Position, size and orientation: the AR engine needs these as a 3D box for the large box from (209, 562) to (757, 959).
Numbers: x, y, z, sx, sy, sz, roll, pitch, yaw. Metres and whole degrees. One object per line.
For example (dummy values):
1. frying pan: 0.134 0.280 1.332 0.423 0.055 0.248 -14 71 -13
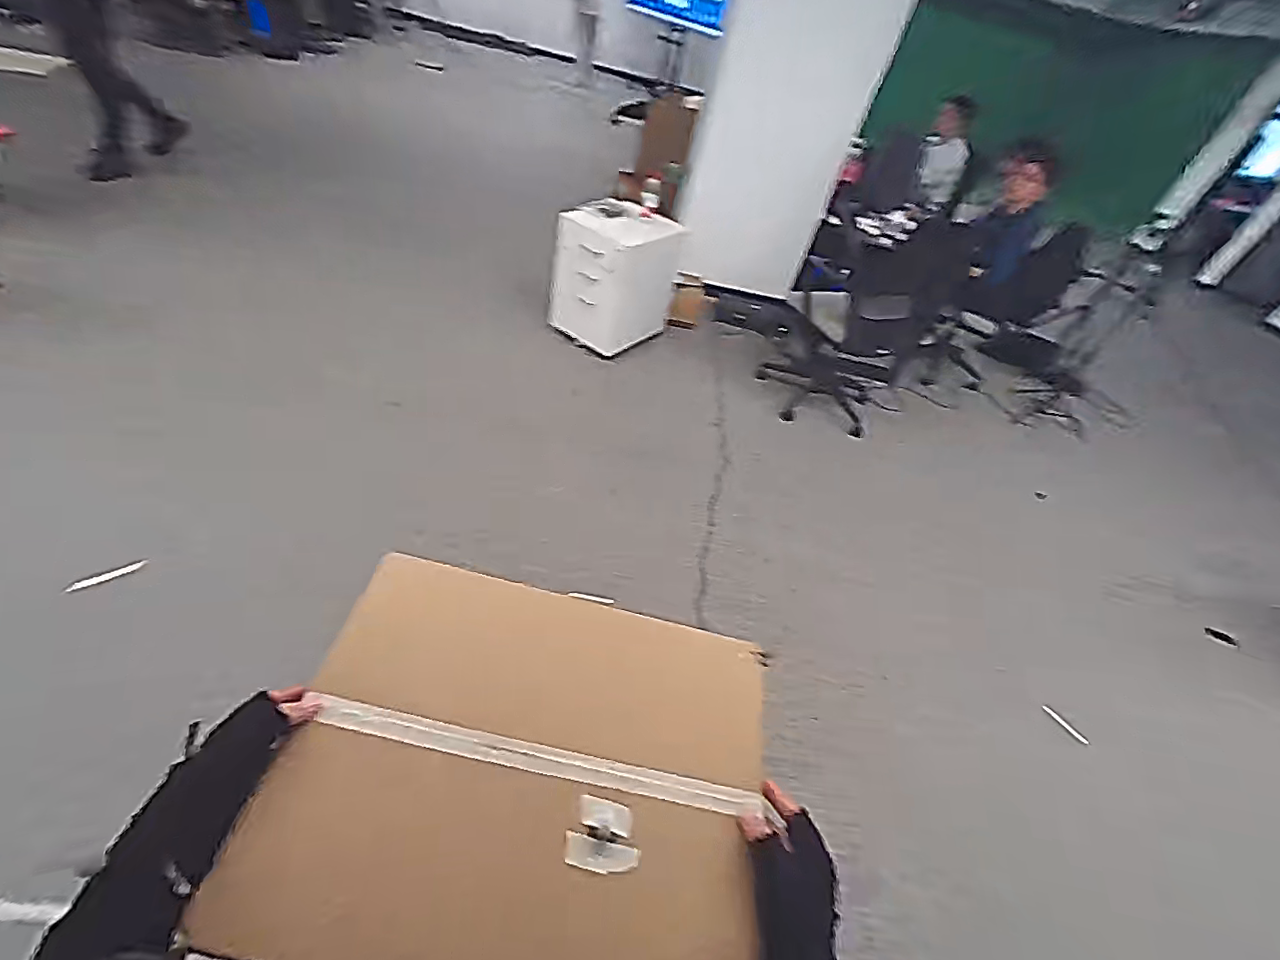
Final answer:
1. large box: -0.120 0.338 0.590 0.408 0.320 0.320 16 49 -5
